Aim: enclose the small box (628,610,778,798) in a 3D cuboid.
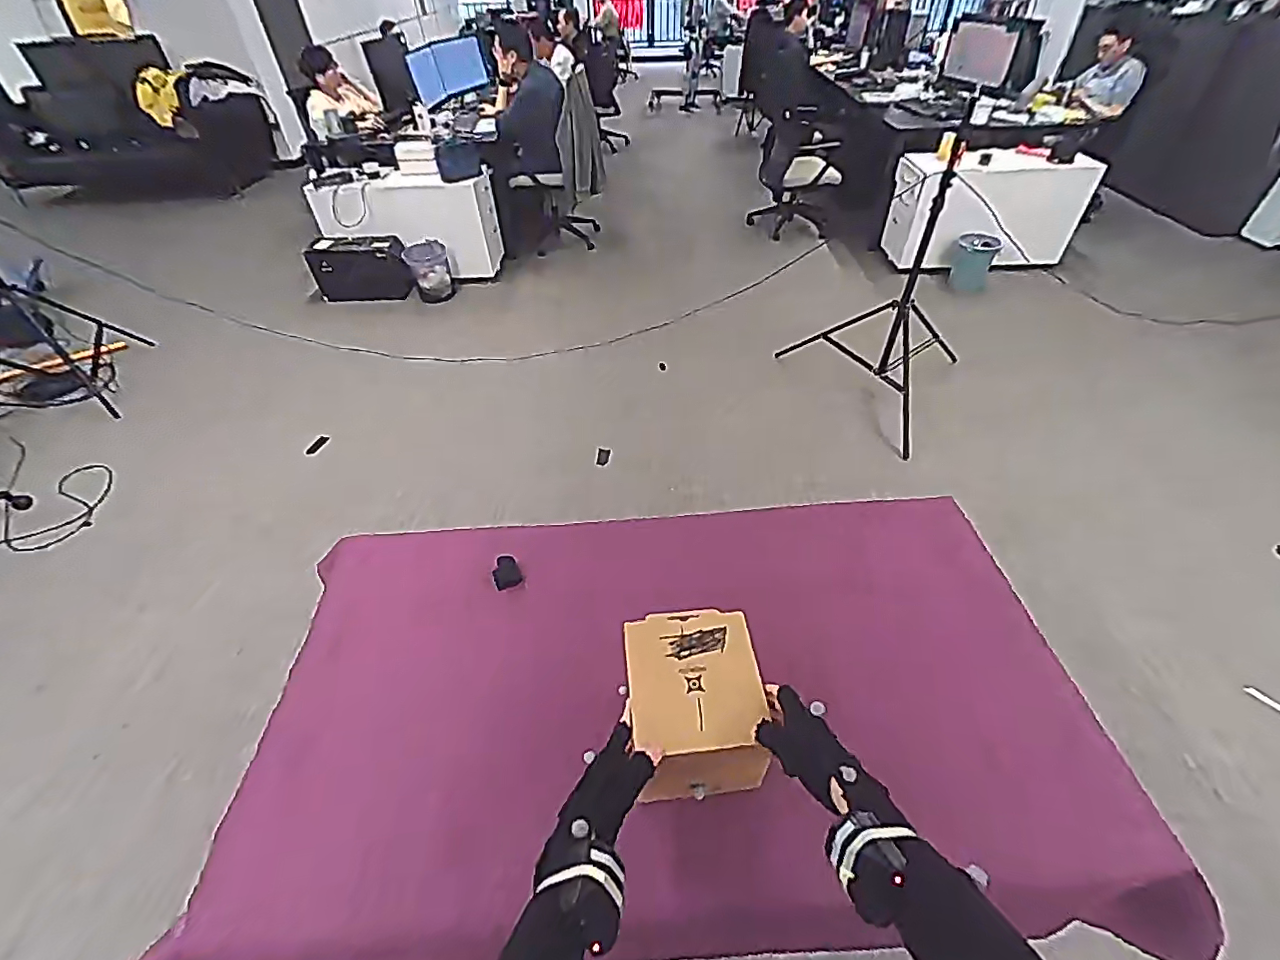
[{"bbox_3d":[0.072,0.300,0.726,0.168,0.176,0.179,-5,45,-3],"label":"small box"}]
